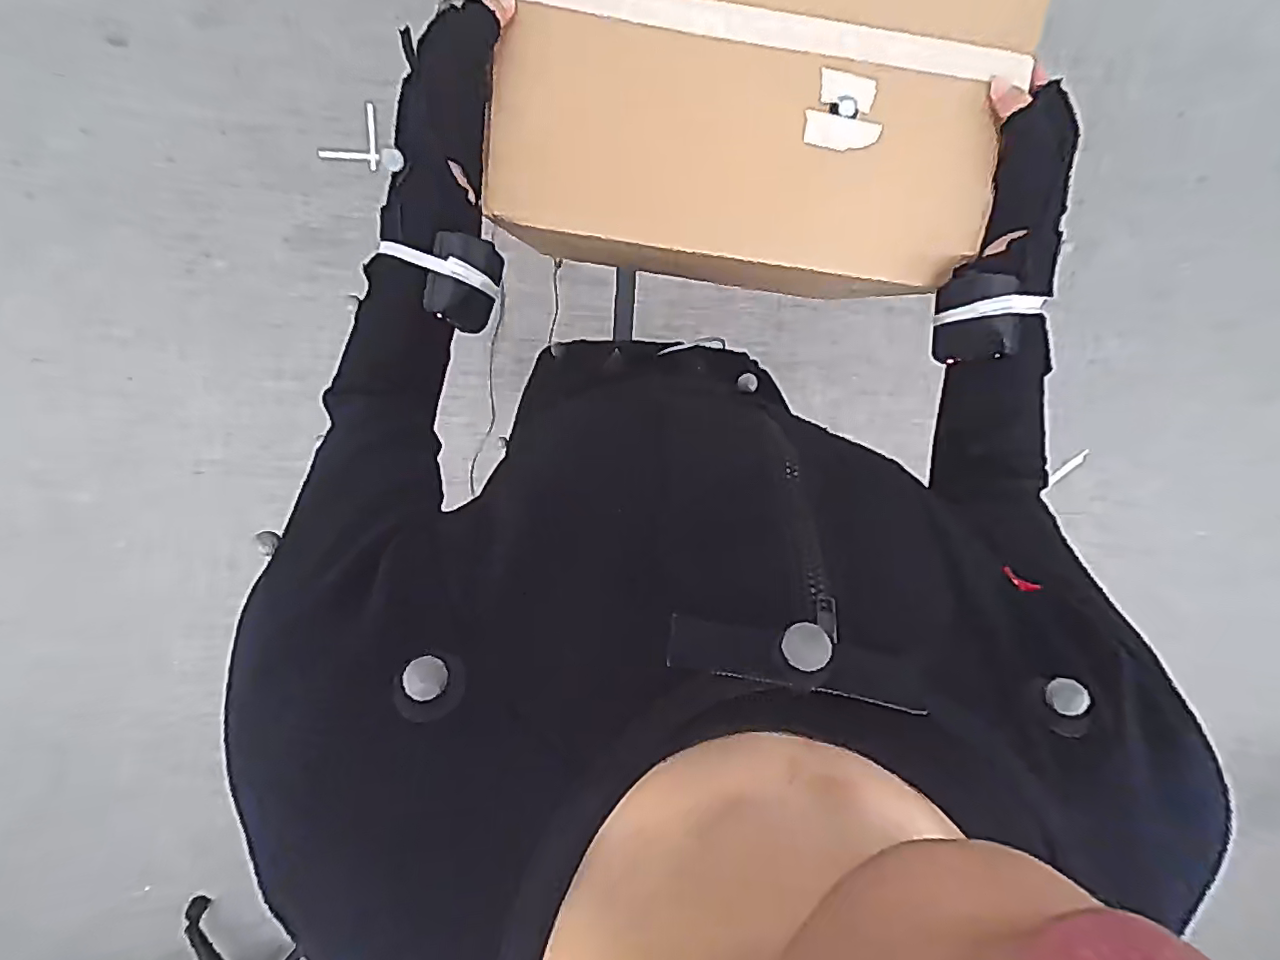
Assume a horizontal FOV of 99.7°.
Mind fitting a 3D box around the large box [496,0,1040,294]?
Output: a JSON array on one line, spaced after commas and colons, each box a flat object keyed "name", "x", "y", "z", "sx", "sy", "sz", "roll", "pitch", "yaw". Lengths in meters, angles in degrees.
[{"name": "large box", "x": 0.090, "y": -0.380, "z": 0.552, "sx": 0.408, "sy": 0.320, "sz": 0.320, "roll": 7, "pitch": 108, "yaw": -5}]
